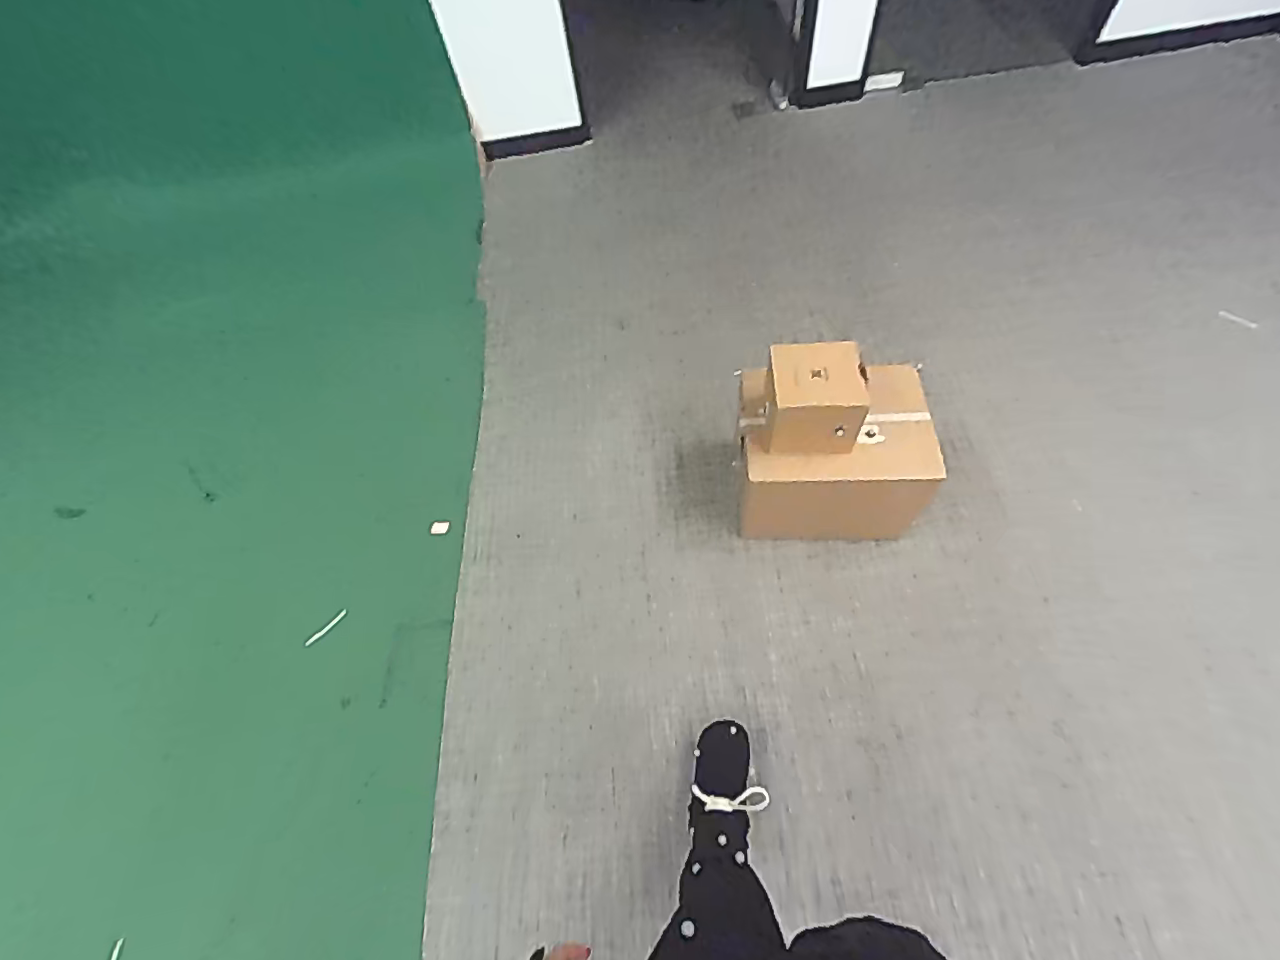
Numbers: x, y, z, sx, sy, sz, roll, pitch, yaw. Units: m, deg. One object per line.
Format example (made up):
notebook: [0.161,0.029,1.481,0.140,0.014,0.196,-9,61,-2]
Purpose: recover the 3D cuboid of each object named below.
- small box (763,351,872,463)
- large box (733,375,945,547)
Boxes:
small box: [0.359,-0.147,1.127,0.179,0.176,0.168,-2,58,6]
large box: [0.450,-0.035,1.334,0.408,0.320,0.320,-1,60,5]
